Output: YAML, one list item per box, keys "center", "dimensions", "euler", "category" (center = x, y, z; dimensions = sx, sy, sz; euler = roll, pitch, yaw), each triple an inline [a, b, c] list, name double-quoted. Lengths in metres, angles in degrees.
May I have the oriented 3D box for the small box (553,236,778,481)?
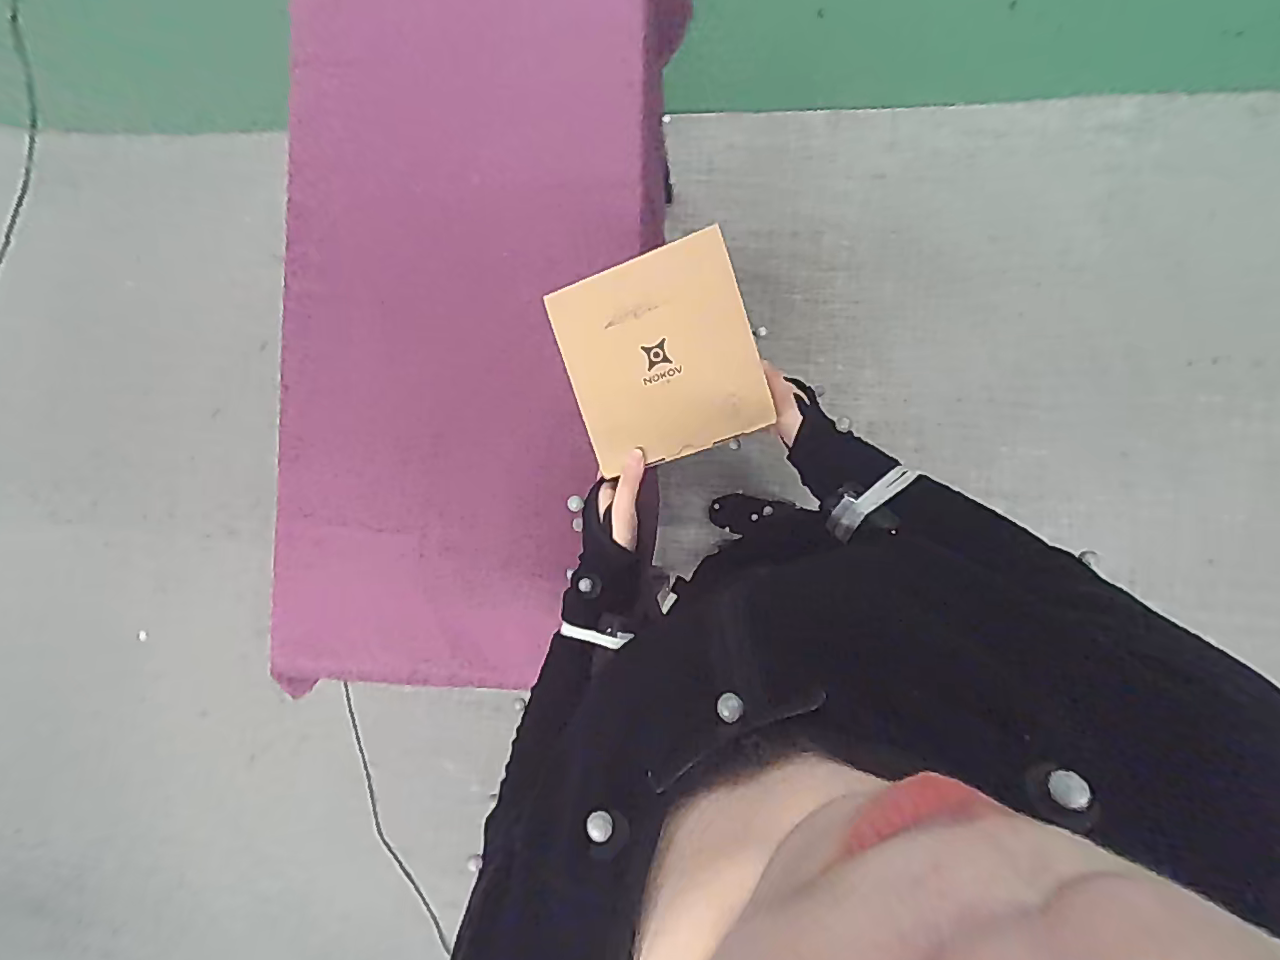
- center: [0.037, -0.114, 0.549]
  dimensions: [0.168, 0.176, 0.179]
  euler: [-16, 95, 13]
  category: "small box"
